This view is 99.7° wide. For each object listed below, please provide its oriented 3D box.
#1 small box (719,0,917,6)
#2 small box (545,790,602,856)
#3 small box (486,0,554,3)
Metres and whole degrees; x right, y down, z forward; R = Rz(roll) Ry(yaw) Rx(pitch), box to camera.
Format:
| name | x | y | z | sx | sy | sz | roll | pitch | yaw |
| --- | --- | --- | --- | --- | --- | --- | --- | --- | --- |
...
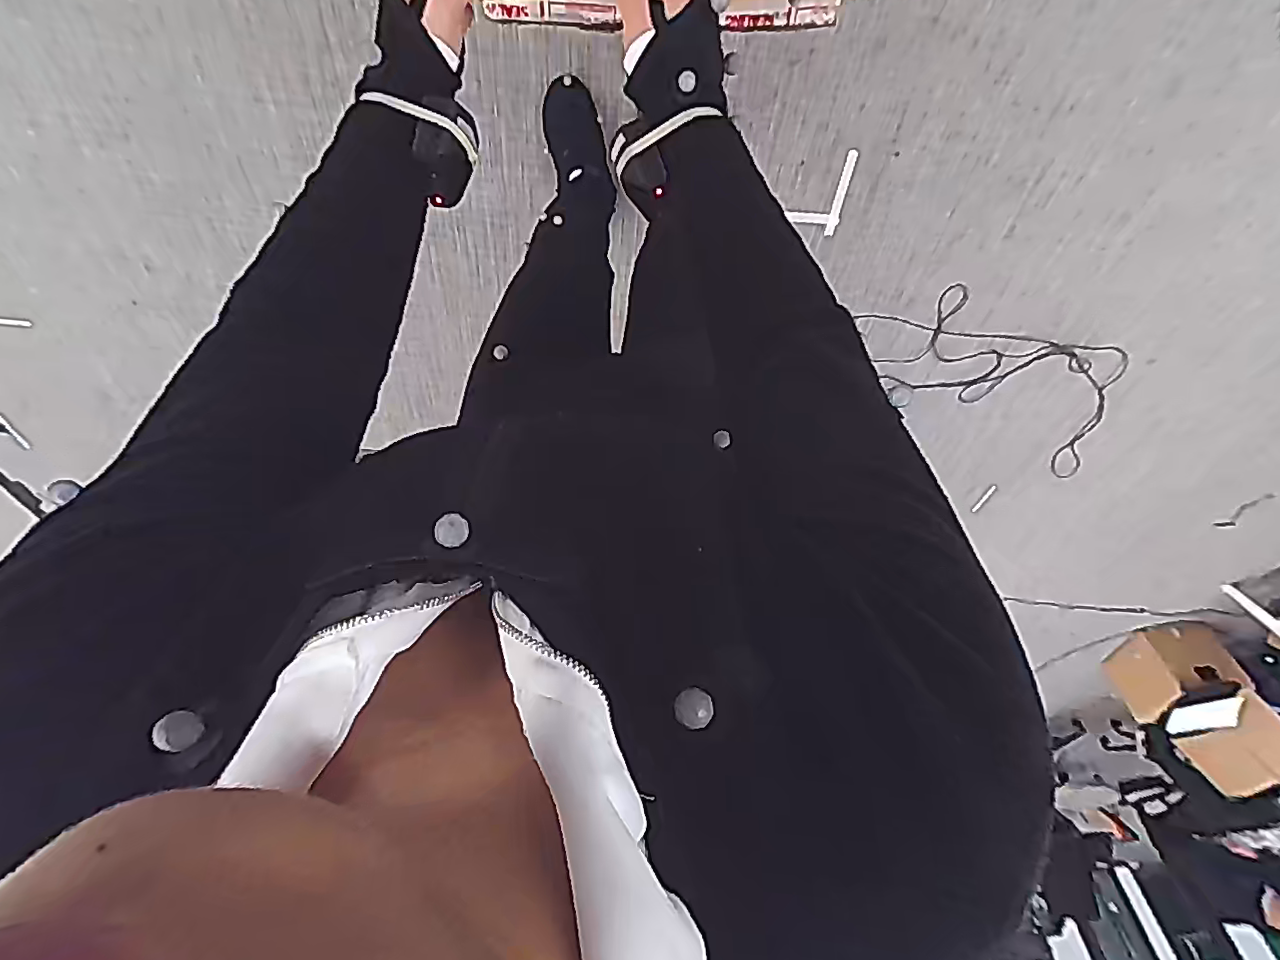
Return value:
| name | x | y | z | sx | sy | sz | roll | pitch | yaw |
| --- | --- | --- | --- | --- | --- | --- | --- | --- | --- |
| small box | 0.152 | -0.523 | 0.456 | 0.179 | 0.176 | 0.168 | -2 | 139 | -1 |
| small box | -0.232 | 1.199 | 1.888 | 0.168 | 0.176 | 0.179 | 11 | 136 | -12 |
| small box | -0.057 | -0.527 | 0.447 | 0.168 | 0.176 | 0.179 | -1 | 141 | 3 |
